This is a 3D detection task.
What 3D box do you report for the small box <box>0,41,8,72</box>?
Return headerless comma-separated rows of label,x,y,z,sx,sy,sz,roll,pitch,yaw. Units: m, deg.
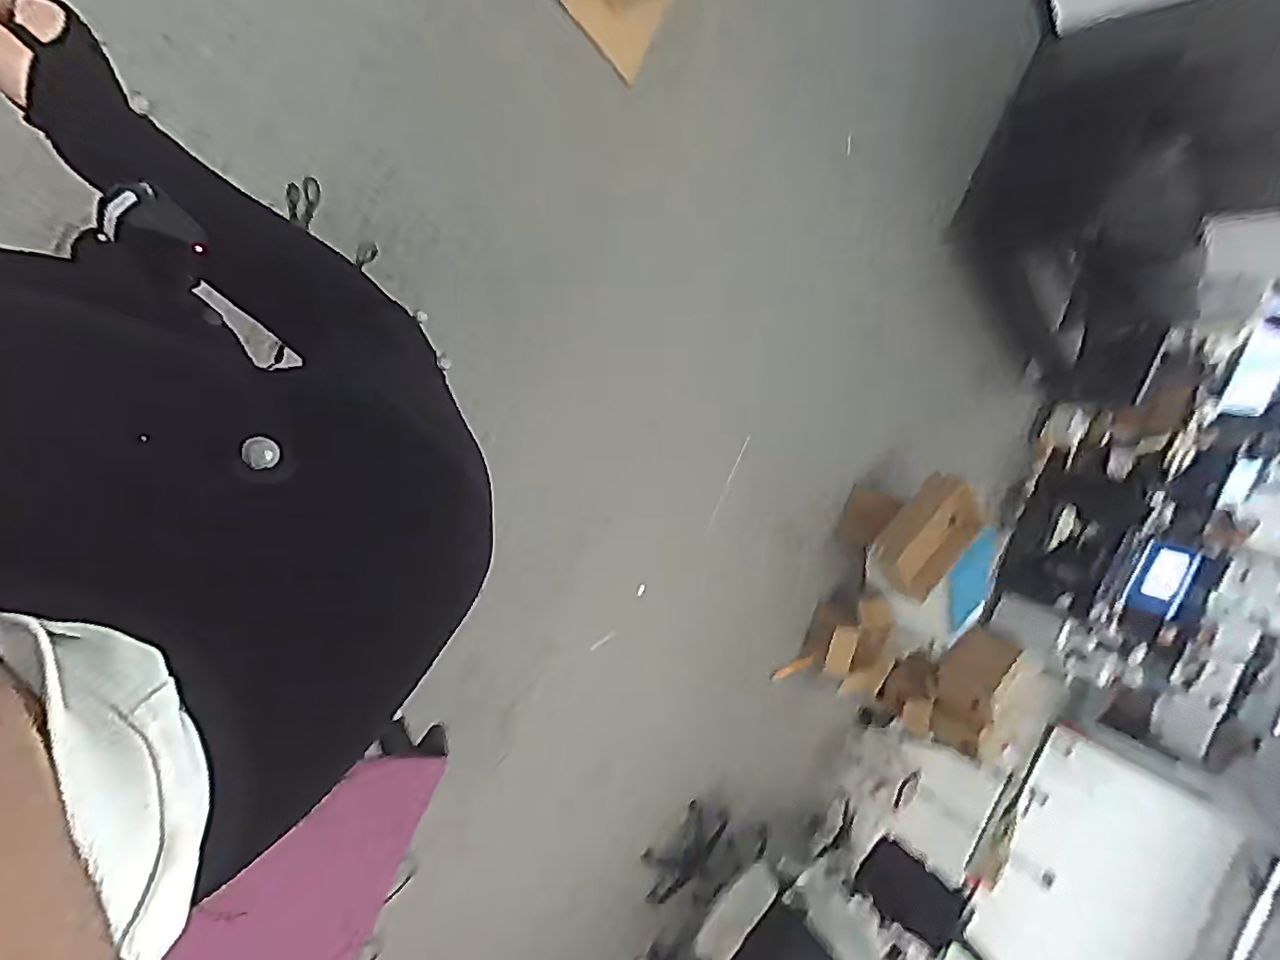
small box,-0.604,-0.402,0.370,0.168,0.176,0.179,-22,127,-32
